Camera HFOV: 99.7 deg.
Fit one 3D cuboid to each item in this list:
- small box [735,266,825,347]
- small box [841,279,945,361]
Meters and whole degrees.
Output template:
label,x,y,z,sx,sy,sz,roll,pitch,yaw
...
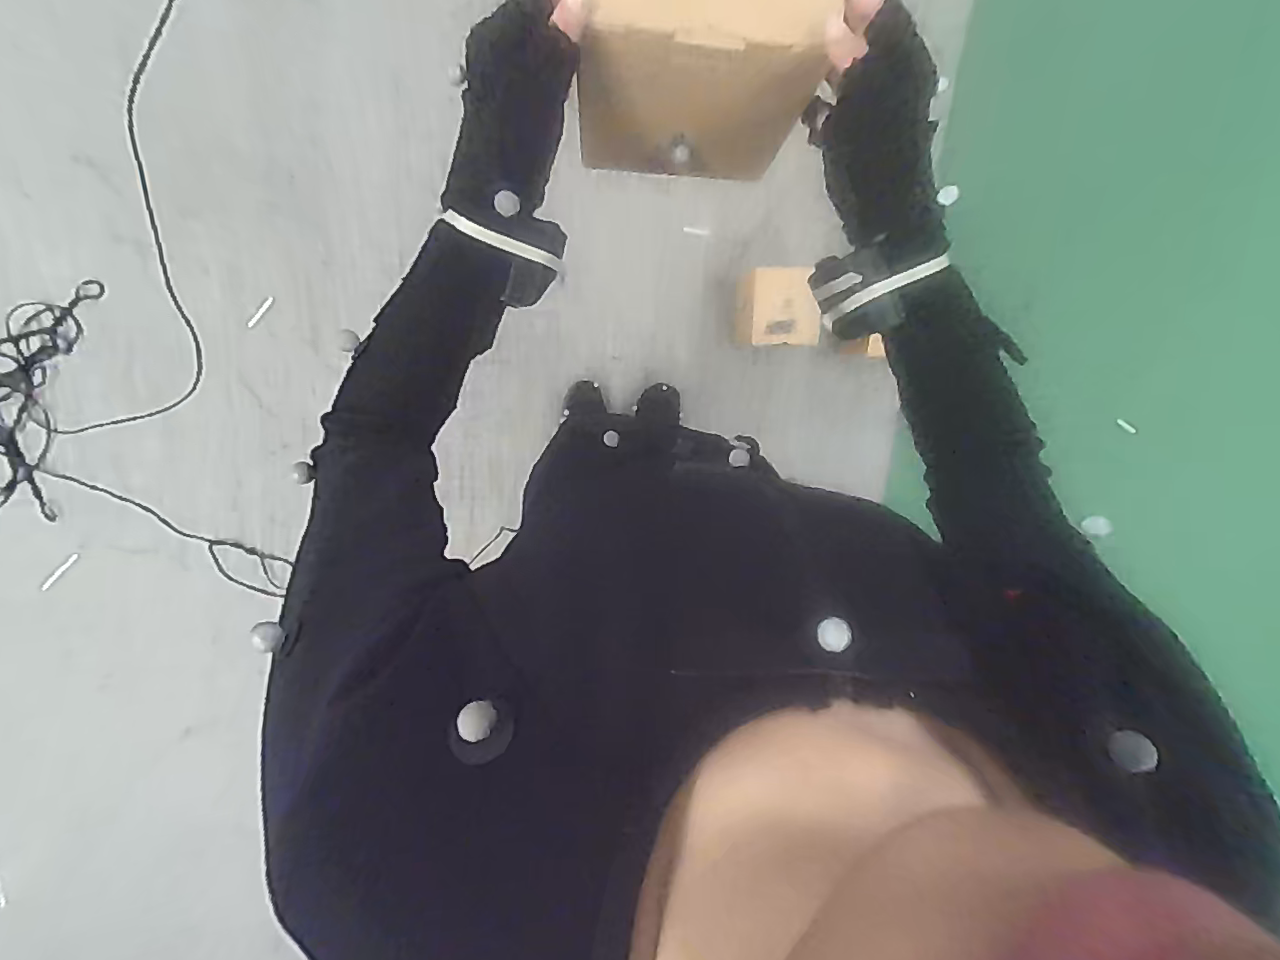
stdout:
label,x,y,z,sx,sy,sz,roll,pitch,yaw
small box,0.337,-0.420,1.330,0.168,0.176,0.179,-1,101,-5
small box,0.627,-0.396,1.361,0.168,0.176,0.179,3,102,-5
